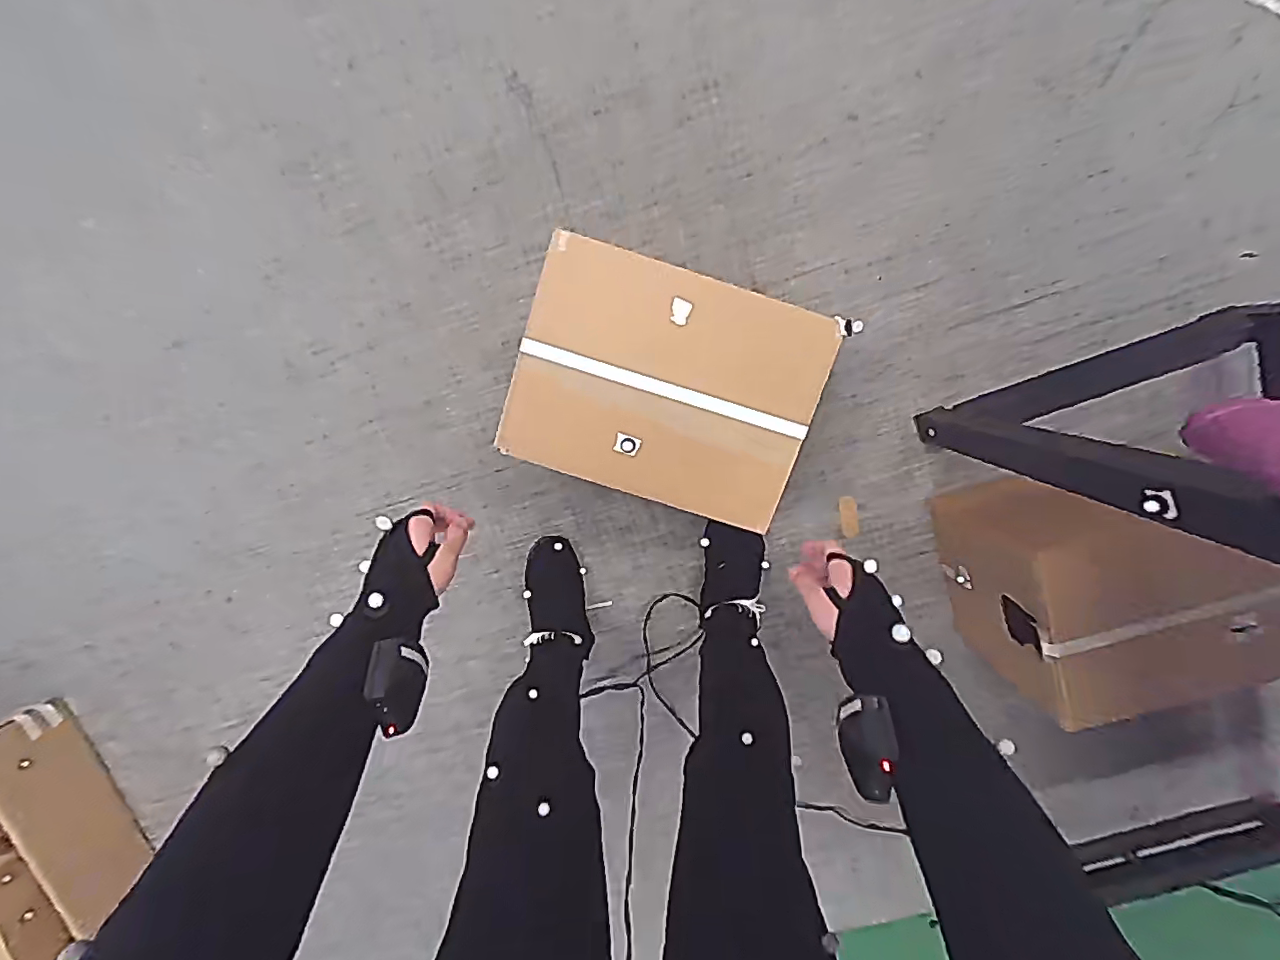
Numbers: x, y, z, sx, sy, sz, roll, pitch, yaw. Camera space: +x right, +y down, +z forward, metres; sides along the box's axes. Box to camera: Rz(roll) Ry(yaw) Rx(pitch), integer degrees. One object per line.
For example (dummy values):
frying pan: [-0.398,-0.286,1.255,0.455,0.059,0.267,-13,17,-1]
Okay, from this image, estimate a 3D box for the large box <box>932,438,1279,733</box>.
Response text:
large box: [0.796,0.151,0.918,0.408,0.320,0.320,-18,103,5]

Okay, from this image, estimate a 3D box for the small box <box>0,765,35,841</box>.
small box: [-1.494,0.735,1.157,0.168,0.176,0.179,-21,102,6]
